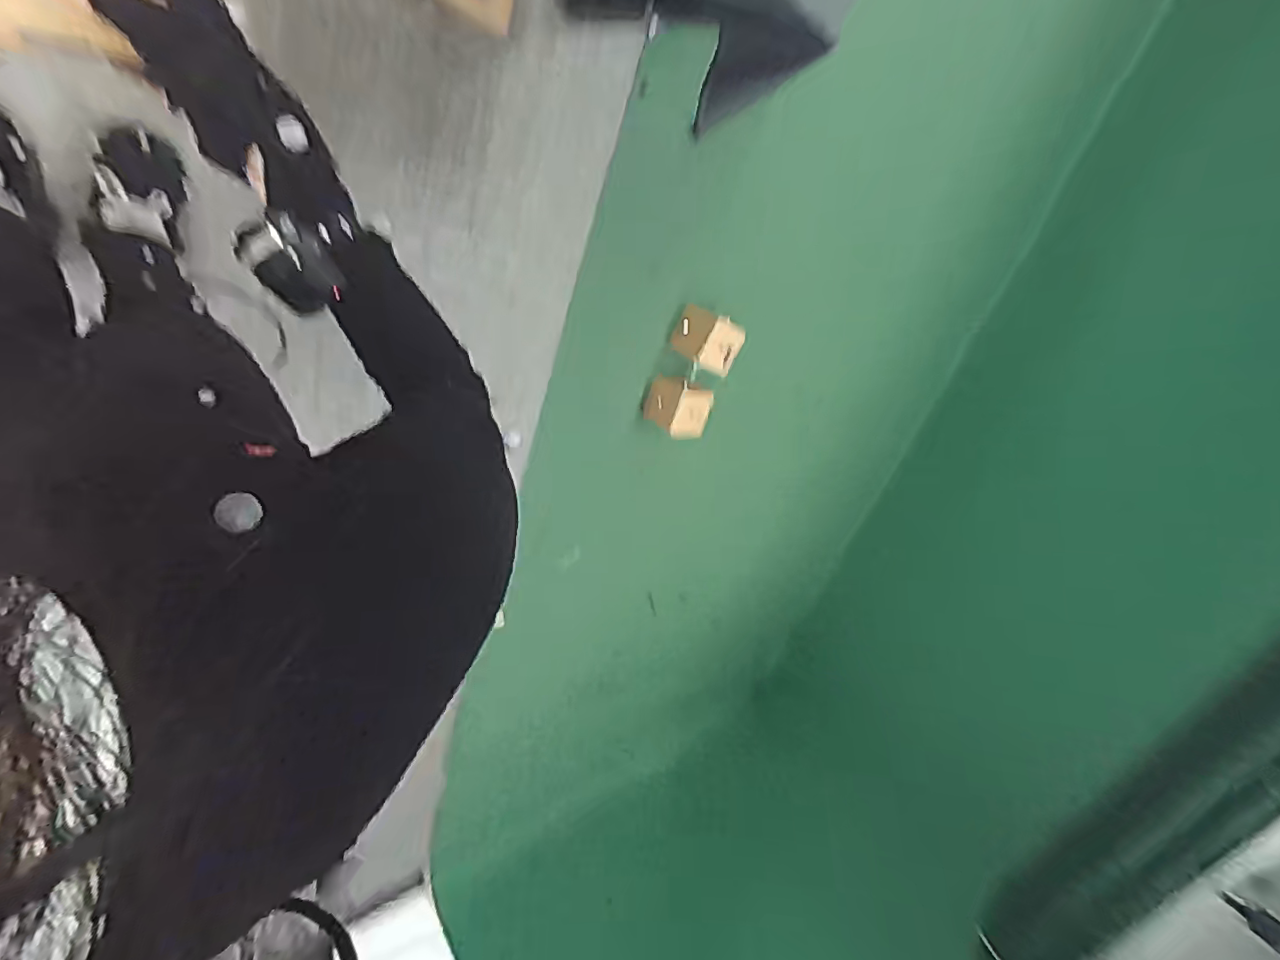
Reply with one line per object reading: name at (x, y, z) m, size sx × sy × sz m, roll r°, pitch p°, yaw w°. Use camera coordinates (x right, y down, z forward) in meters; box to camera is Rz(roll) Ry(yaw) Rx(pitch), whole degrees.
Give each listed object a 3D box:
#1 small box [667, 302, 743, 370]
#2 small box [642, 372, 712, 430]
small box at (0.233, -0.524, 1.963) m, size 0.179 × 0.176 × 0.168 m, roll 10°, pitch 113°, yaw -48°
small box at (0.136, -0.302, 2.053) m, size 0.179 × 0.176 × 0.168 m, roll -6°, pitch 126°, yaw -43°
